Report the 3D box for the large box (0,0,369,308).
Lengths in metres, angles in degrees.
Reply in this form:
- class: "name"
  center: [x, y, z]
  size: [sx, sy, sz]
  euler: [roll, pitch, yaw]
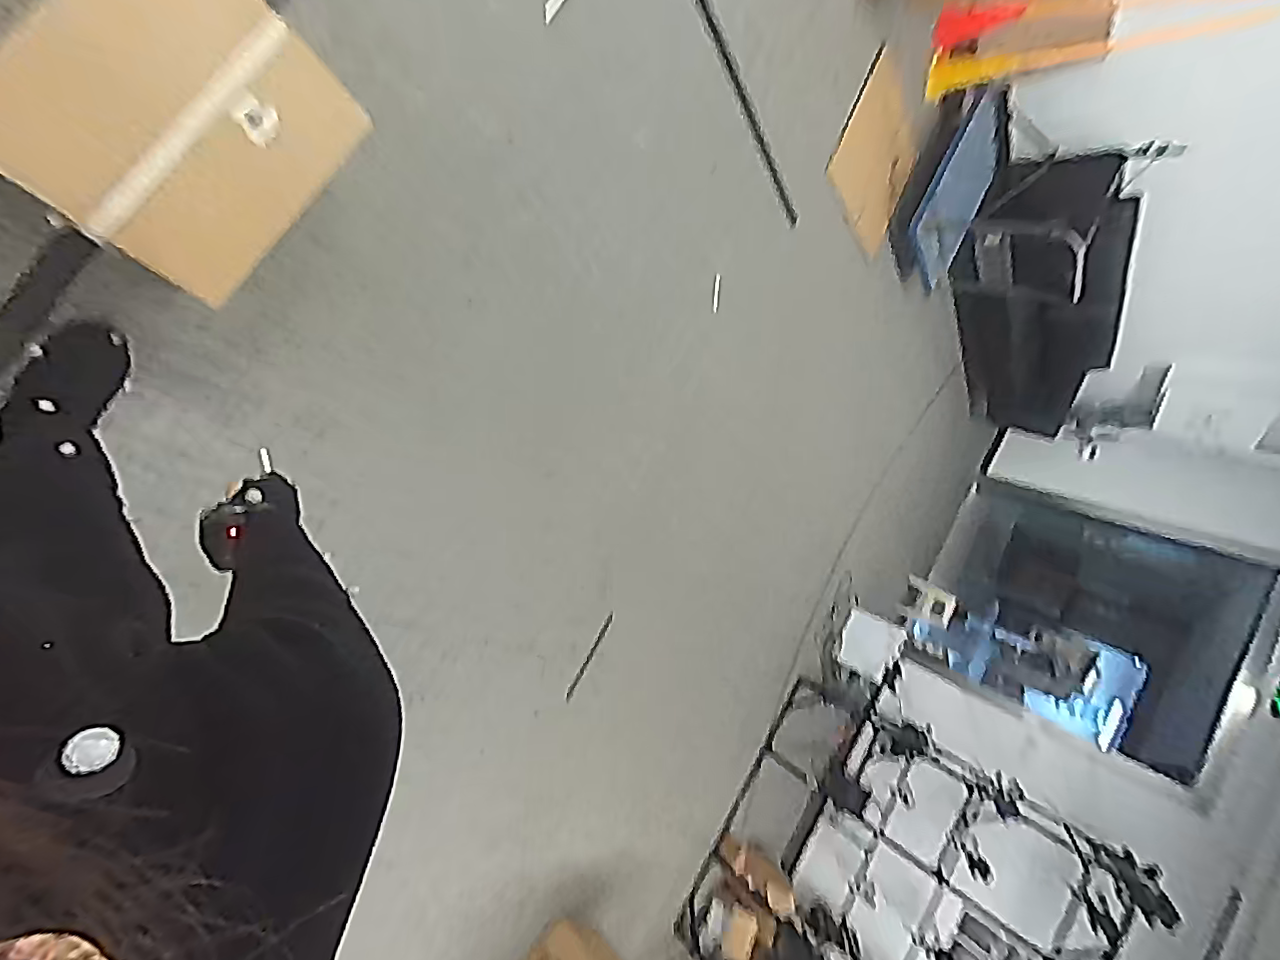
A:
- class: "large box"
  center: [-0.726, -0.536, 0.848]
  size: [0.408, 0.320, 0.320]
  euler: [-59, 140, -10]
